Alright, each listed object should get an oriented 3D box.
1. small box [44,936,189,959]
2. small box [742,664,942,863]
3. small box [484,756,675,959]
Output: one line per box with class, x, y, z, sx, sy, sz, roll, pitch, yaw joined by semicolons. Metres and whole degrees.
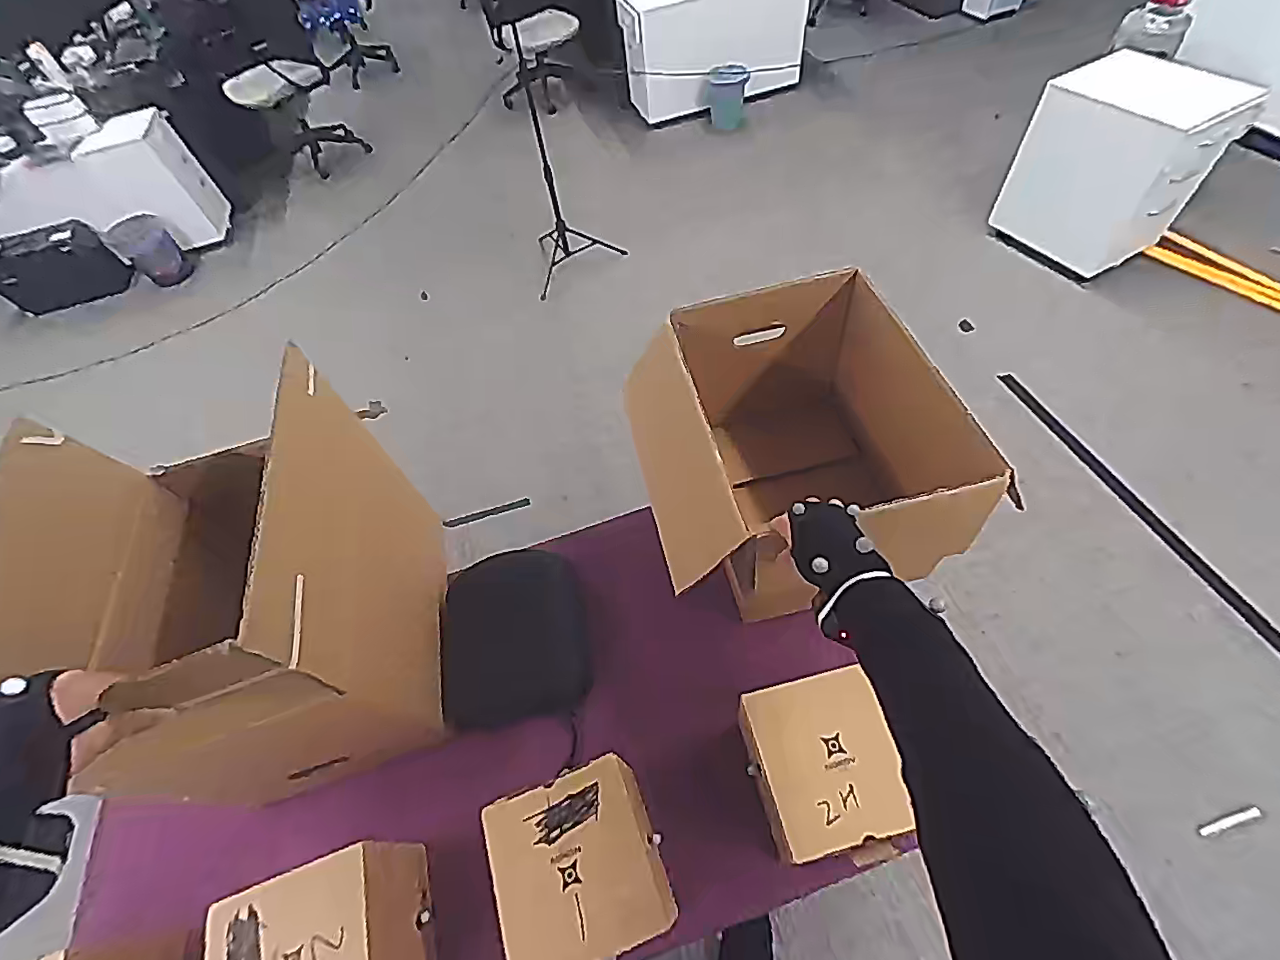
small box;-0.664;0.649;0.601;0.179;0.176;0.168;-21;55;-8
small box;0.229;0.355;0.672;0.168;0.176;0.179;-15;55;0
small box;-0.067;0.461;0.644;0.168;0.176;0.179;-21;56;-6
